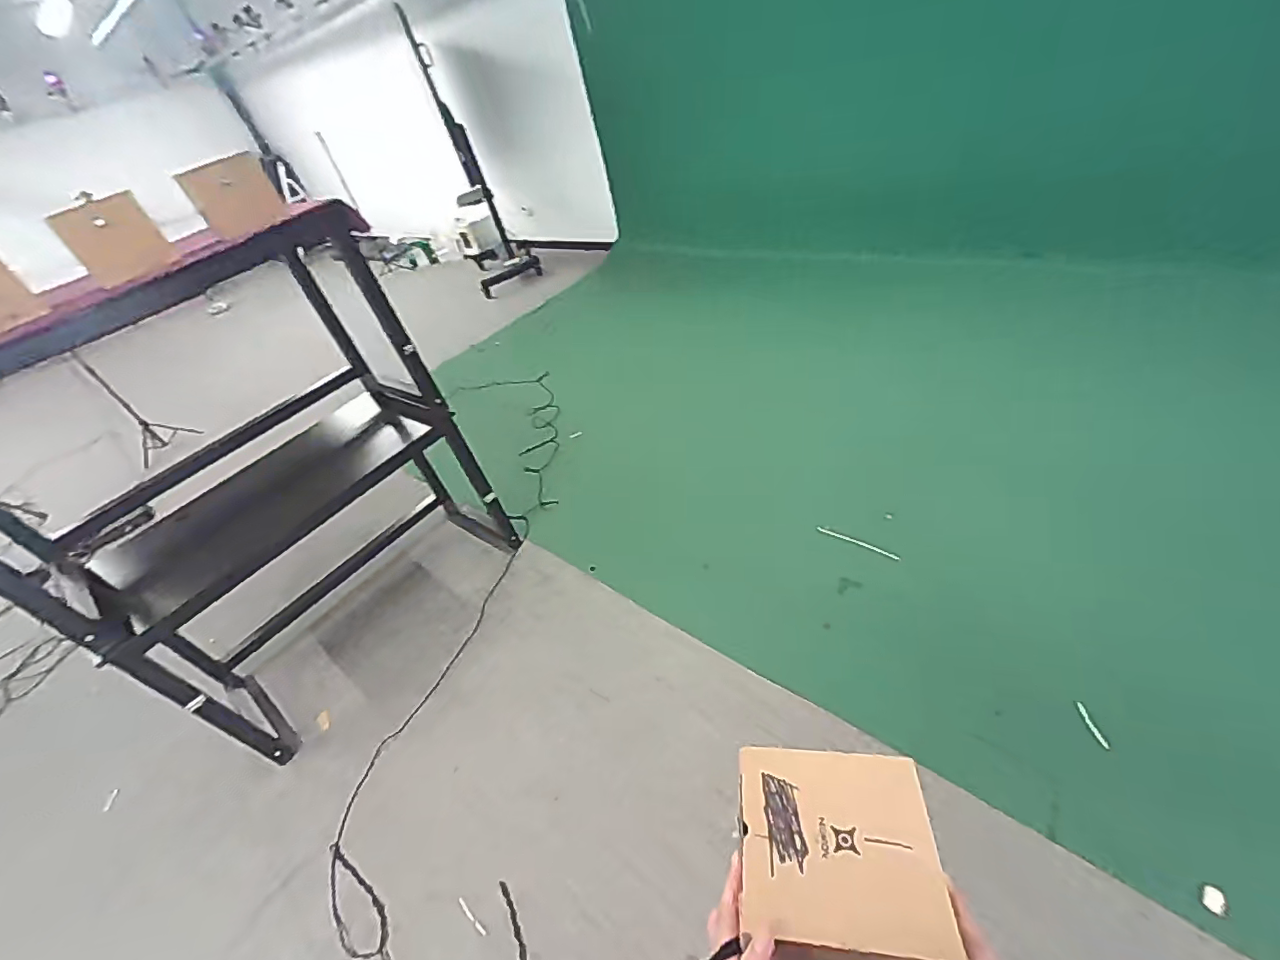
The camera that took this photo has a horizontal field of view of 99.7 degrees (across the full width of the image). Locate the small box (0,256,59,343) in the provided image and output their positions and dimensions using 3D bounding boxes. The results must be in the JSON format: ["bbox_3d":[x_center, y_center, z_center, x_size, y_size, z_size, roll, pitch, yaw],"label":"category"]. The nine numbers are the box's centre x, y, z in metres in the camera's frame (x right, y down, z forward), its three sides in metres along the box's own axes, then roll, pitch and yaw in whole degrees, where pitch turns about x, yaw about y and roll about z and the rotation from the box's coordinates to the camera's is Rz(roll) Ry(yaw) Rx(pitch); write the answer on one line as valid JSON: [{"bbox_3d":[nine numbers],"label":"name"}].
[{"bbox_3d":[-1.444,-0.398,1.189,0.179,0.176,0.168,19,51,37],"label":"small box"}]

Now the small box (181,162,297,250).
[{"bbox_3d":[-1.084,-0.741,1.467,0.168,0.176,0.179,25,55,39],"label":"small box"}]

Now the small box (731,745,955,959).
[{"bbox_3d":[0.184,0.394,0.542,0.179,0.176,0.168,-2,33,11],"label":"small box"}]

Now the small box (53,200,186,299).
[{"bbox_3d":[-1.268,-0.567,1.330,0.168,0.176,0.179,20,52,39],"label":"small box"}]
